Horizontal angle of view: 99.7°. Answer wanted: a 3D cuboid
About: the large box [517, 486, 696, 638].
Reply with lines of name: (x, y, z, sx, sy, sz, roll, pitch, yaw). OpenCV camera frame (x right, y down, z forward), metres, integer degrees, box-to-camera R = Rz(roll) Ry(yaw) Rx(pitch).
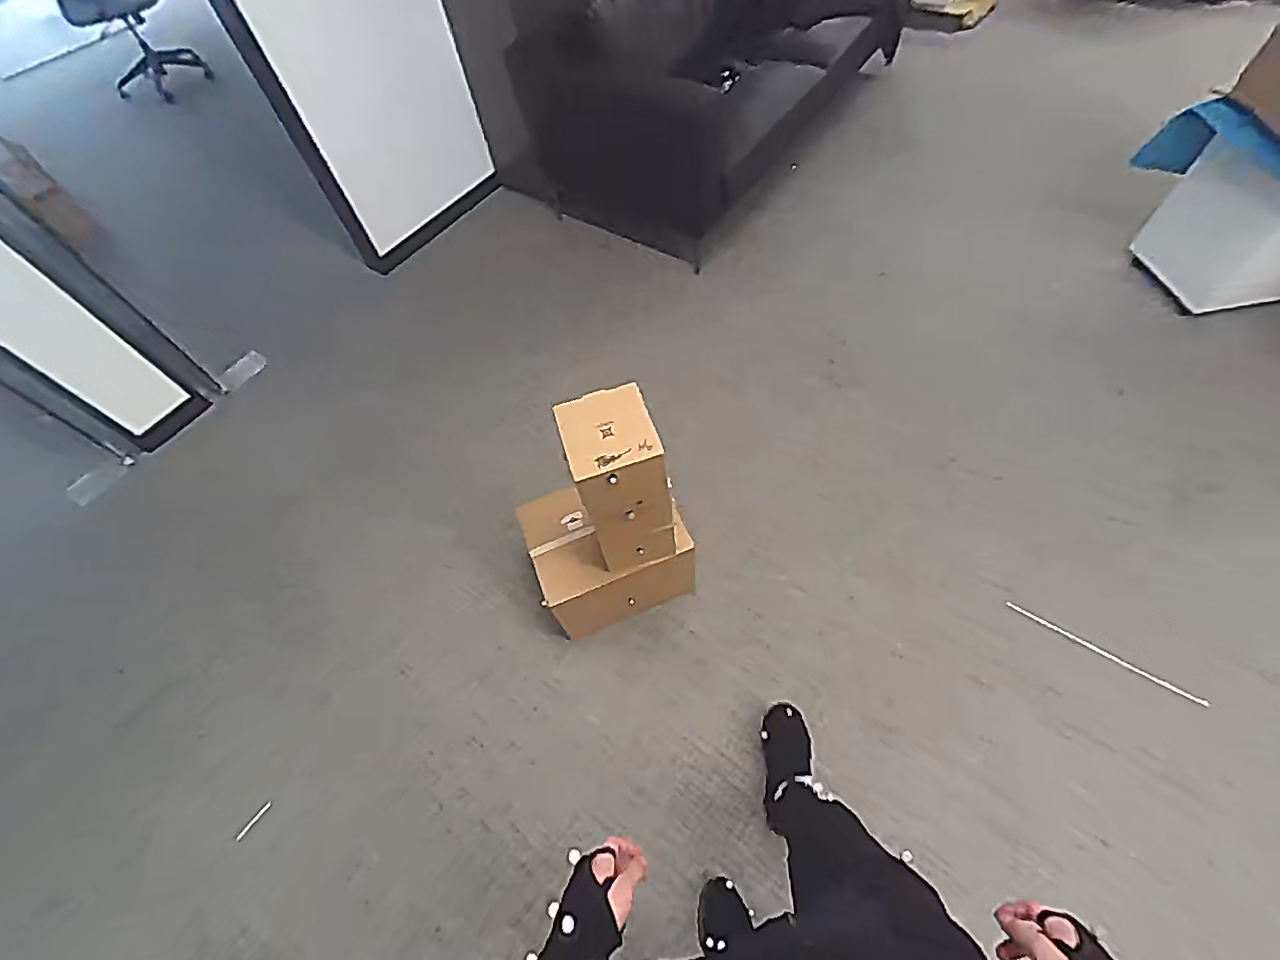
large box: (-0.083, 0.201, 1.550, 0.408, 0.320, 0.320, -22, 59, -7)

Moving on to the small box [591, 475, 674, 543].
small box: (-0.033, 0.014, 1.180, 0.179, 0.176, 0.168, -19, 60, -4)

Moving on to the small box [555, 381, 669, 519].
small box: (-0.050, -0.053, 1.031, 0.168, 0.176, 0.179, -18, 59, -3)
